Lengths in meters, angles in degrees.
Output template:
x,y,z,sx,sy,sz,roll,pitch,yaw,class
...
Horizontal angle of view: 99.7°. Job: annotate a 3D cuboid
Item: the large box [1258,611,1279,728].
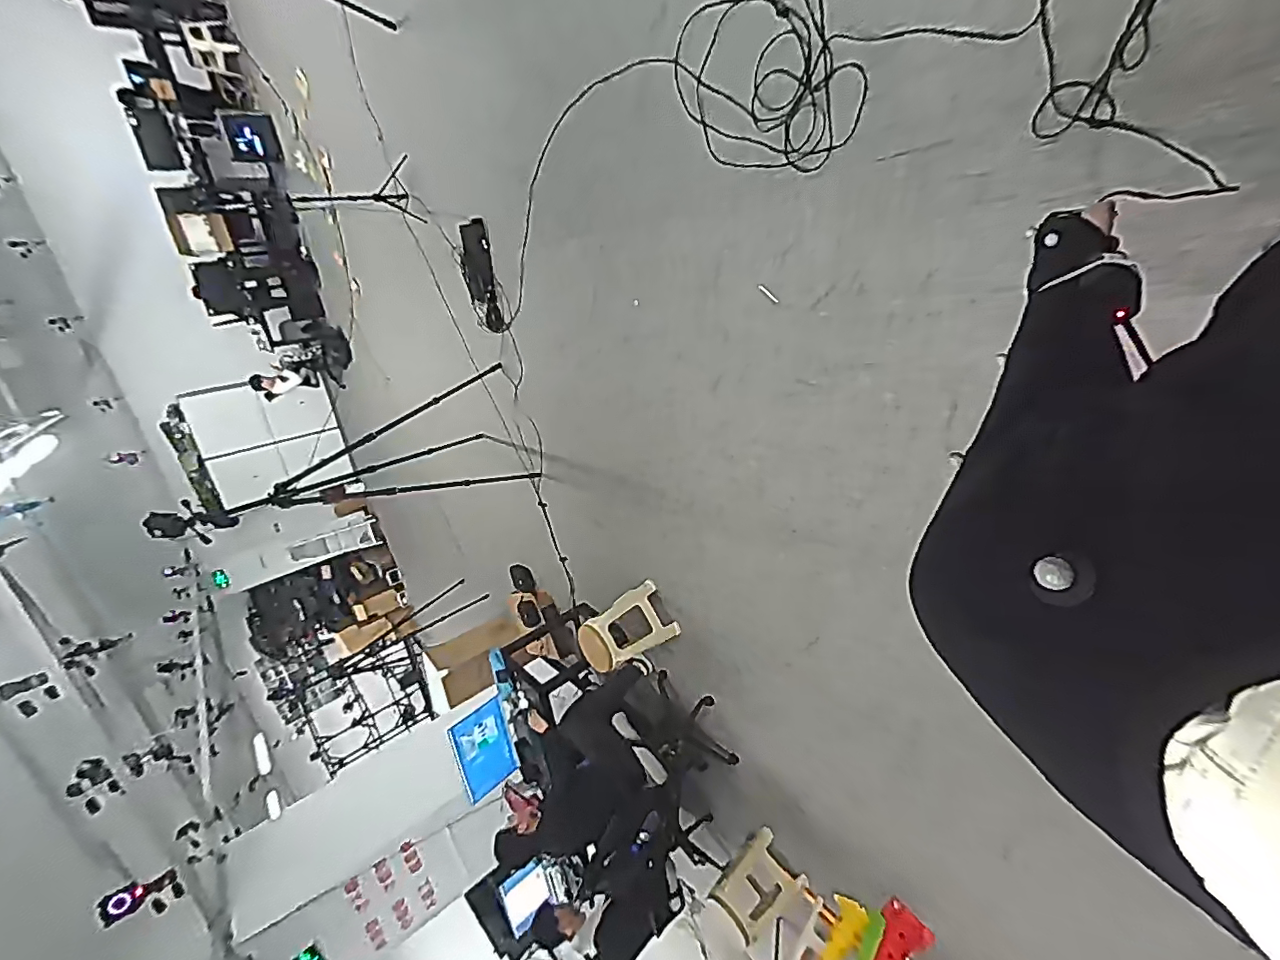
x,y,z,sx,sy,sz,roll,pitch,yaw,class
1.244,0.223,0.807,0.320,0.320,0.408,27,129,42,large box
